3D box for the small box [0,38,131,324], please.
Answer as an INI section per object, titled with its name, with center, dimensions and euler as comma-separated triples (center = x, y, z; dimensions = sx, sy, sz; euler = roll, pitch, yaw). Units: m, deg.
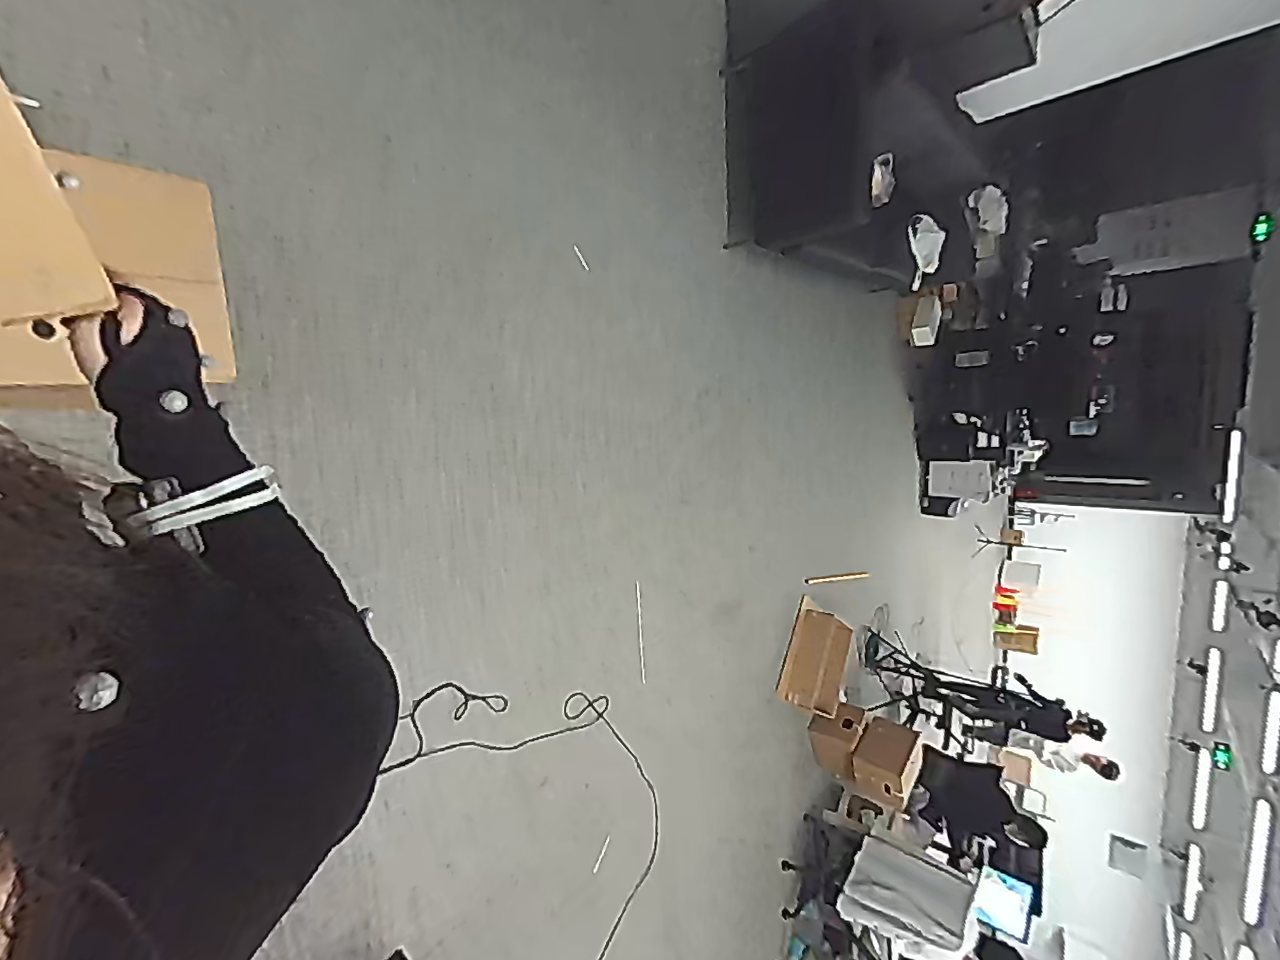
[small box]
center = -0.477, -0.190, 0.347
dimensions = 0.168, 0.176, 0.179
euler = -30, 124, -36
